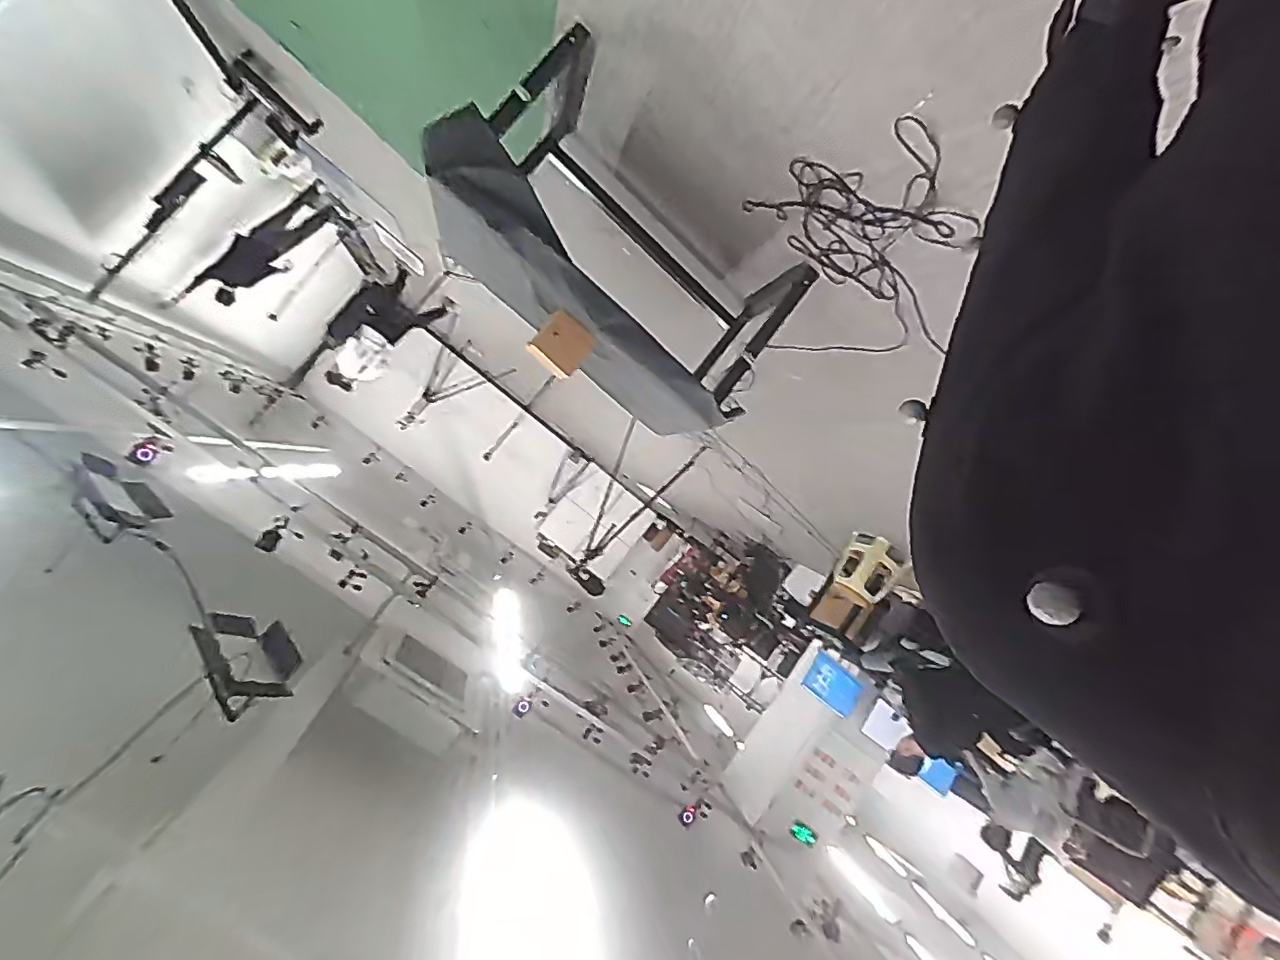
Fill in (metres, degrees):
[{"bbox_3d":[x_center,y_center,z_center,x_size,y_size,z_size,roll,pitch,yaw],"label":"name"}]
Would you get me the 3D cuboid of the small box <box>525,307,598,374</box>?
[{"bbox_3d":[-0.285,-0.508,1.954,0.179,0.176,0.168,40,174,-22],"label":"small box"}]
